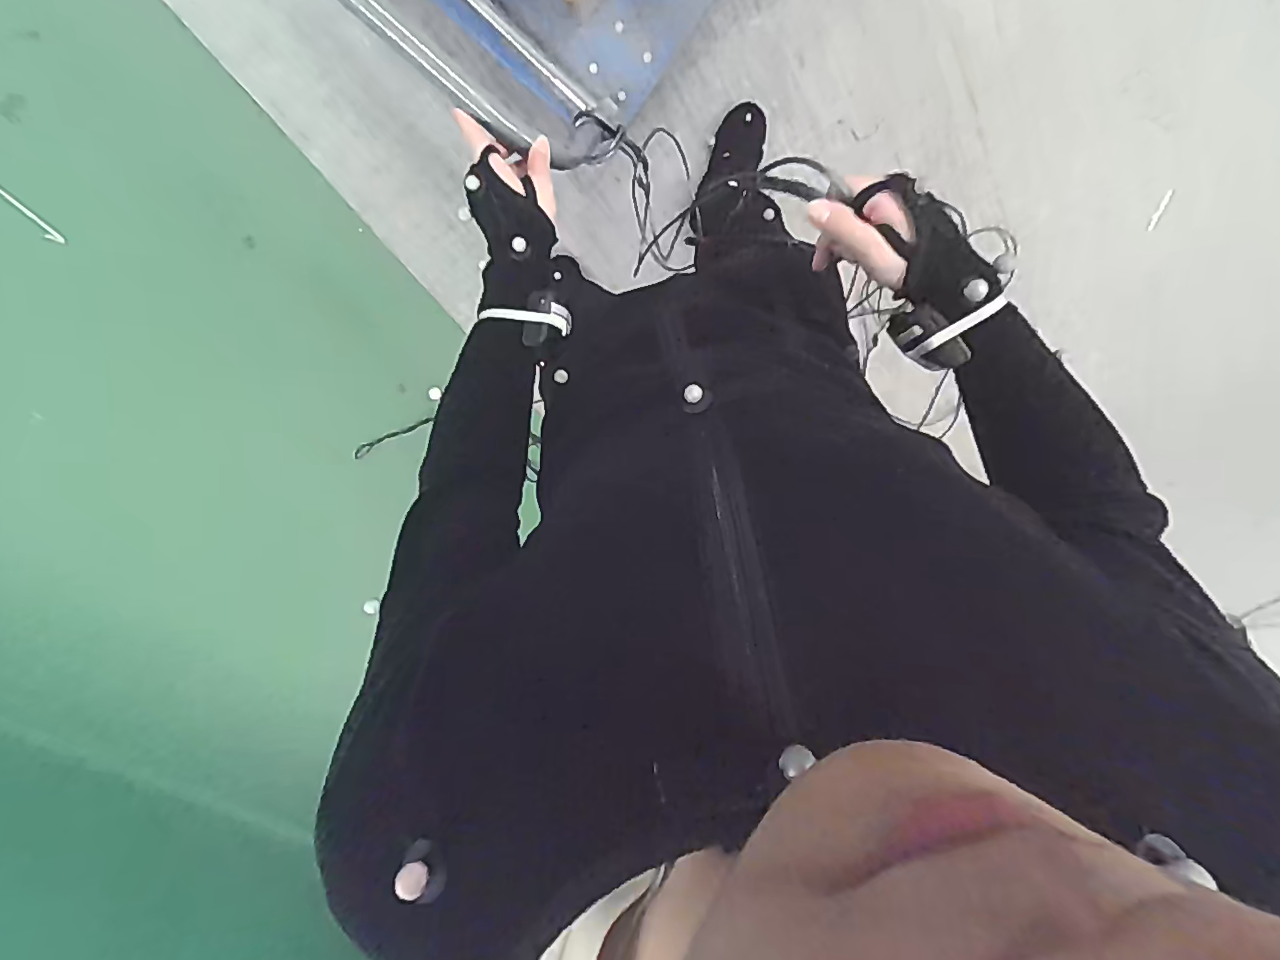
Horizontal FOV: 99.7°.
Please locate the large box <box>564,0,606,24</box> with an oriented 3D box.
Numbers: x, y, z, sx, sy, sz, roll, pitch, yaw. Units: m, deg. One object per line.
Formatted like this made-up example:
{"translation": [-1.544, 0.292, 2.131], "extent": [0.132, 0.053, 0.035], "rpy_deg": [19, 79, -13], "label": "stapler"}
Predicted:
{"translation": [-0.076, -0.960, 0.738], "extent": [0.320, 0.320, 0.408], "rpy_deg": [36, 116, -24], "label": "large box"}
